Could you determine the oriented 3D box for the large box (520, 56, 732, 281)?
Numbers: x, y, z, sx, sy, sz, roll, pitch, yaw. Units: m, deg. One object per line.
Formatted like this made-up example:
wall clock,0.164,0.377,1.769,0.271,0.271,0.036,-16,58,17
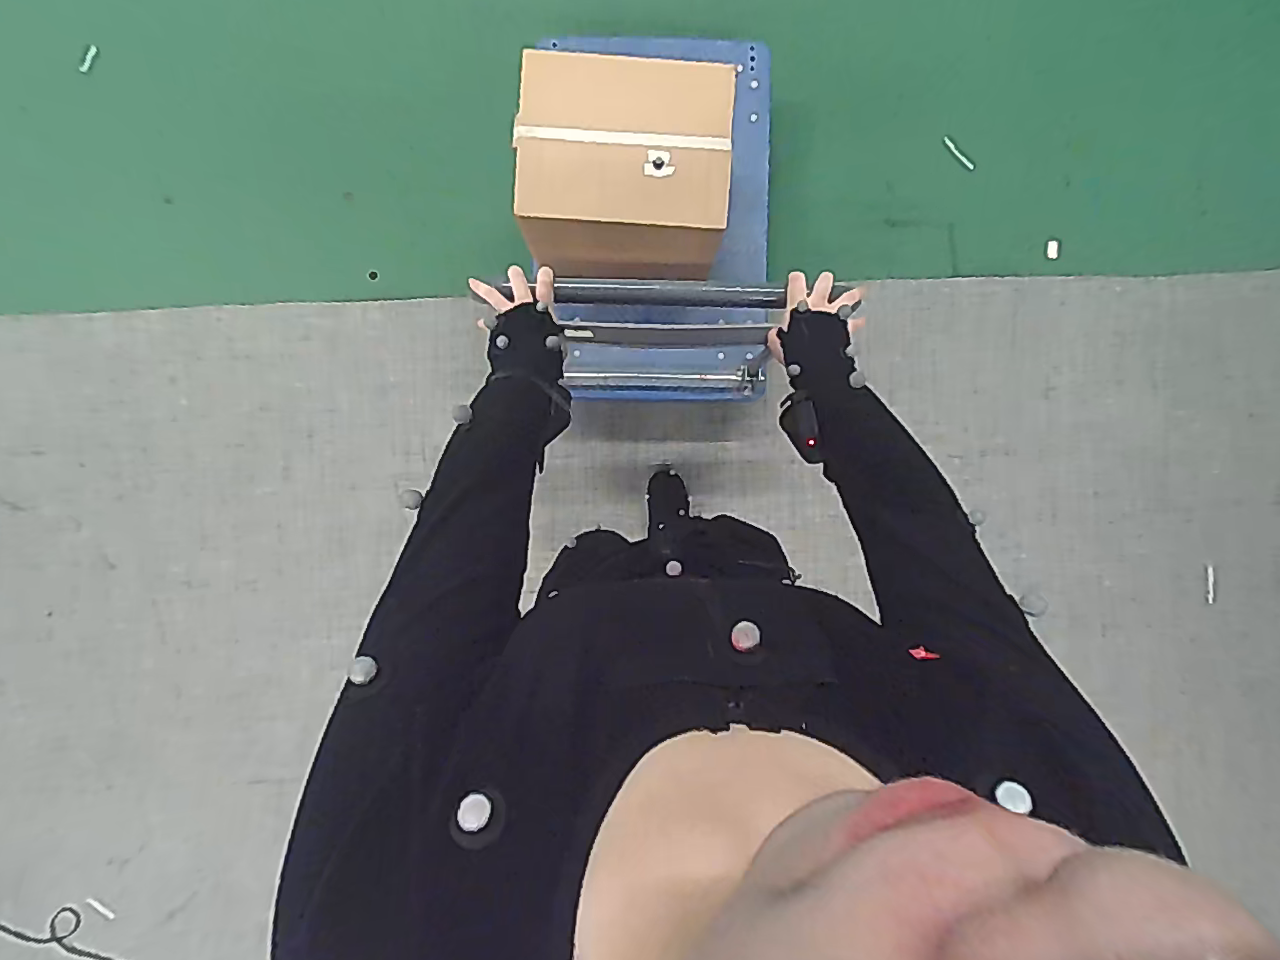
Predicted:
large box,-0.032,-0.650,1.183,0.408,0.320,0.320,3,90,-2
